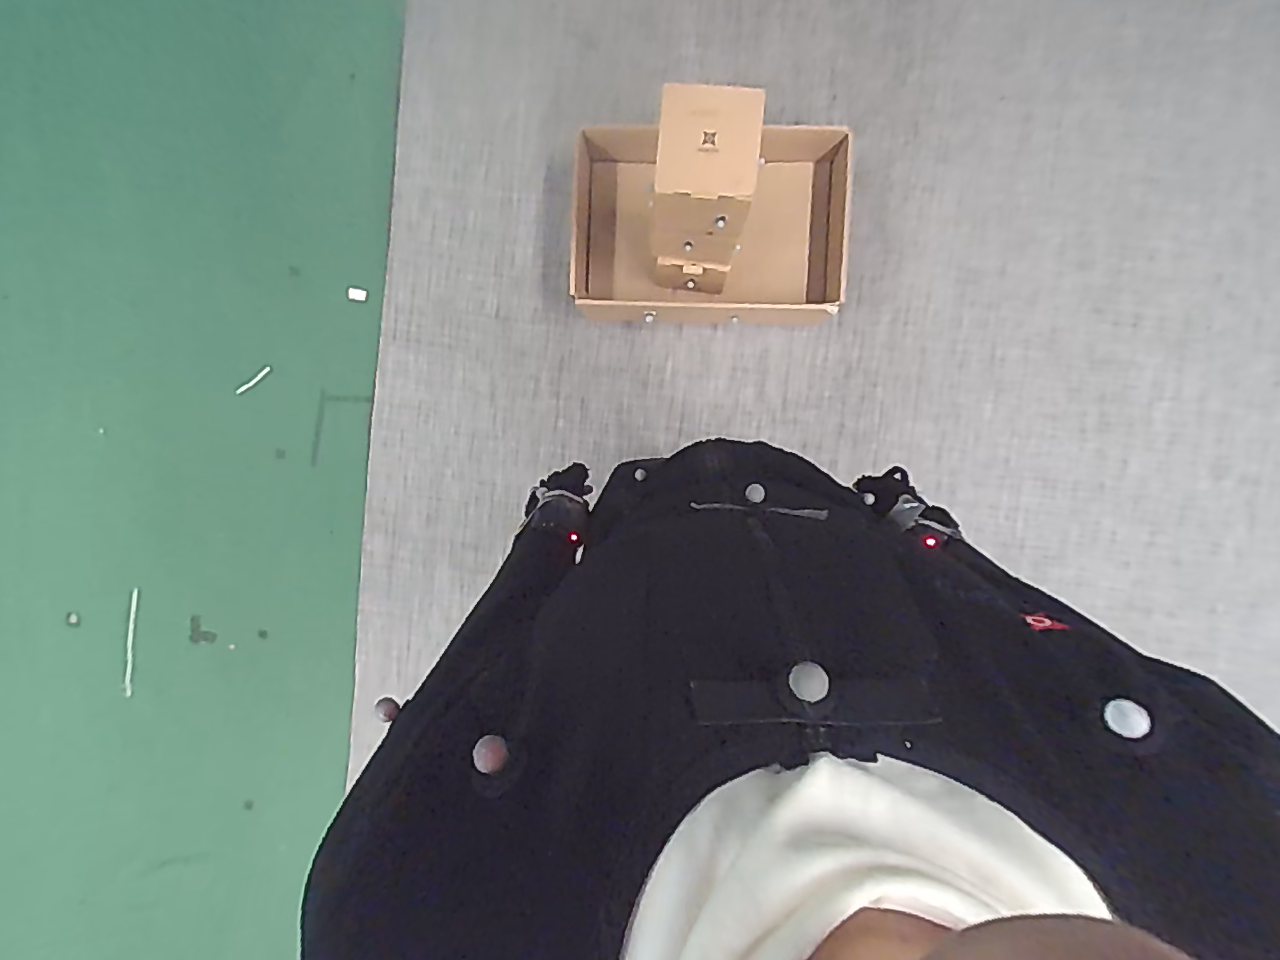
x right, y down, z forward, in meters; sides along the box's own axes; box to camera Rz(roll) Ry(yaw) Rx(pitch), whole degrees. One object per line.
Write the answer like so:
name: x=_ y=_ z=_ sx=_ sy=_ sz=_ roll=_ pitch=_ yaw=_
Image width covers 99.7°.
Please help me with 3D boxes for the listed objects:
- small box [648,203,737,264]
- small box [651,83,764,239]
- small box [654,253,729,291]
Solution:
small box: x=0.119 y=-0.561 z=1.106 sx=0.179 sy=0.176 sz=0.168 roll=11 pitch=92 yaw=3
small box: x=0.111 y=-0.543 z=0.945 sx=0.168 sy=0.176 sz=0.179 roll=6 pitch=91 yaw=1
small box: x=0.130 y=-0.558 z=1.270 sx=0.168 sy=0.176 sz=0.179 roll=9 pitch=94 yaw=2
